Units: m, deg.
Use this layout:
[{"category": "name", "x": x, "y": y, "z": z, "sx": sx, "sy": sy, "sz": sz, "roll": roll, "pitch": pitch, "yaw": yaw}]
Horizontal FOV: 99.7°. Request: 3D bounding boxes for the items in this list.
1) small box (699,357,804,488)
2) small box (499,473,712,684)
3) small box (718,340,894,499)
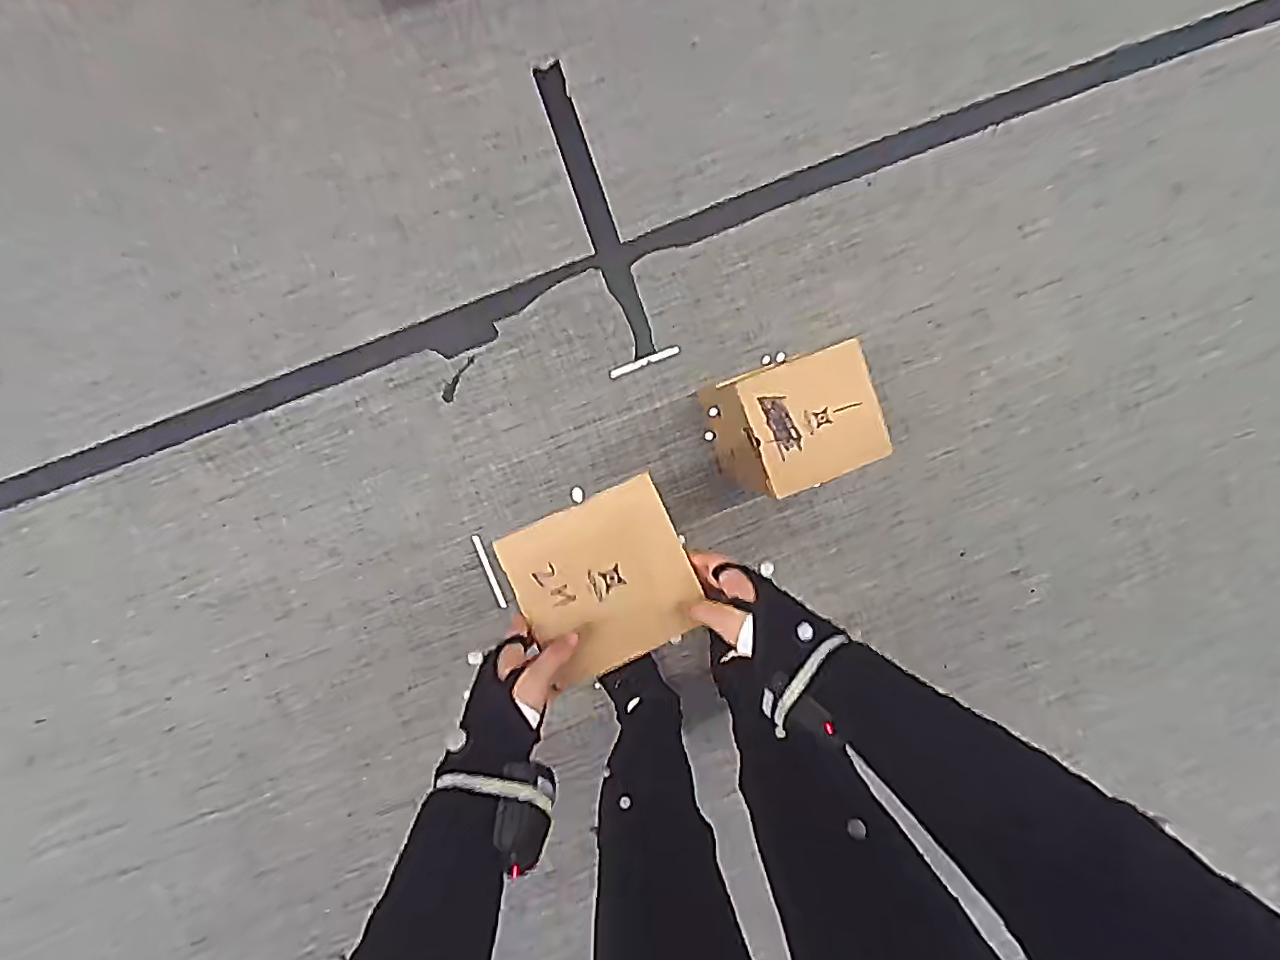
[{"category": "small box", "x": 0.216, "y": -0.104, "z": 0.949, "sx": 0.168, "sy": 0.176, "sz": 0.179, "roll": -19, "pitch": 99, "yaw": -2}, {"category": "small box", "x": -0.041, "y": 0.101, "z": 0.631, "sx": 0.179, "sy": 0.176, "sz": 0.168, "roll": -24, "pitch": 89, "yaw": -4}, {"category": "small box", "x": 0.224, "y": -0.084, "z": 0.784, "sx": 0.179, "sy": 0.176, "sz": 0.168, "roll": -21, "pitch": 98, "yaw": -3}]
